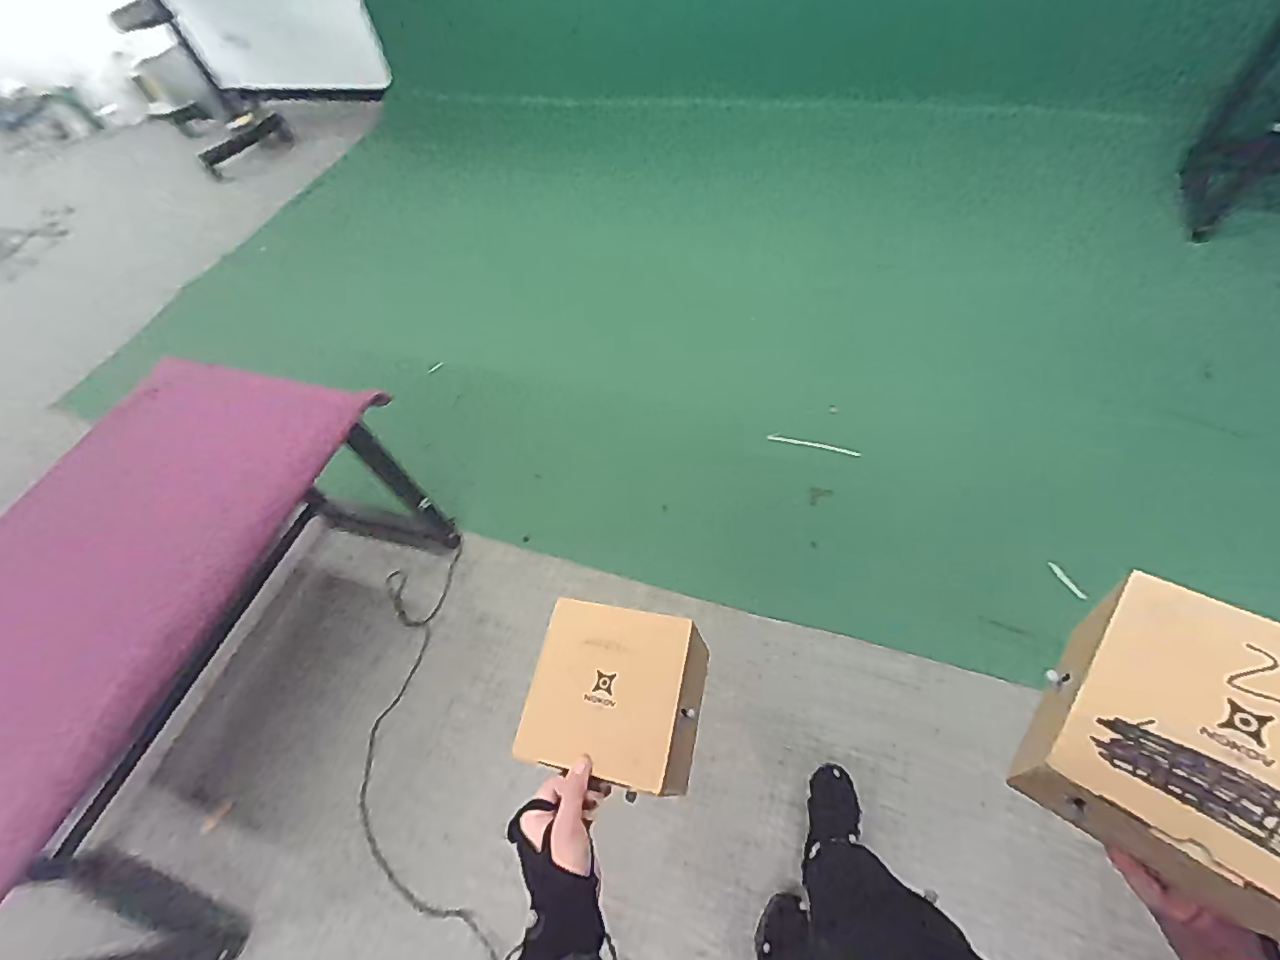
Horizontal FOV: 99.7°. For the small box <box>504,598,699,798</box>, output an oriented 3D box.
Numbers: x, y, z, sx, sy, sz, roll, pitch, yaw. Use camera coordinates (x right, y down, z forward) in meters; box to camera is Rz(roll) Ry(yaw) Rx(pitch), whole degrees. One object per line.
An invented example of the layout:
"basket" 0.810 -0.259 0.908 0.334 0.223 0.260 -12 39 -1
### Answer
"small box" -0.030 0.260 0.644 0.168 0.176 0.179 5 62 18
